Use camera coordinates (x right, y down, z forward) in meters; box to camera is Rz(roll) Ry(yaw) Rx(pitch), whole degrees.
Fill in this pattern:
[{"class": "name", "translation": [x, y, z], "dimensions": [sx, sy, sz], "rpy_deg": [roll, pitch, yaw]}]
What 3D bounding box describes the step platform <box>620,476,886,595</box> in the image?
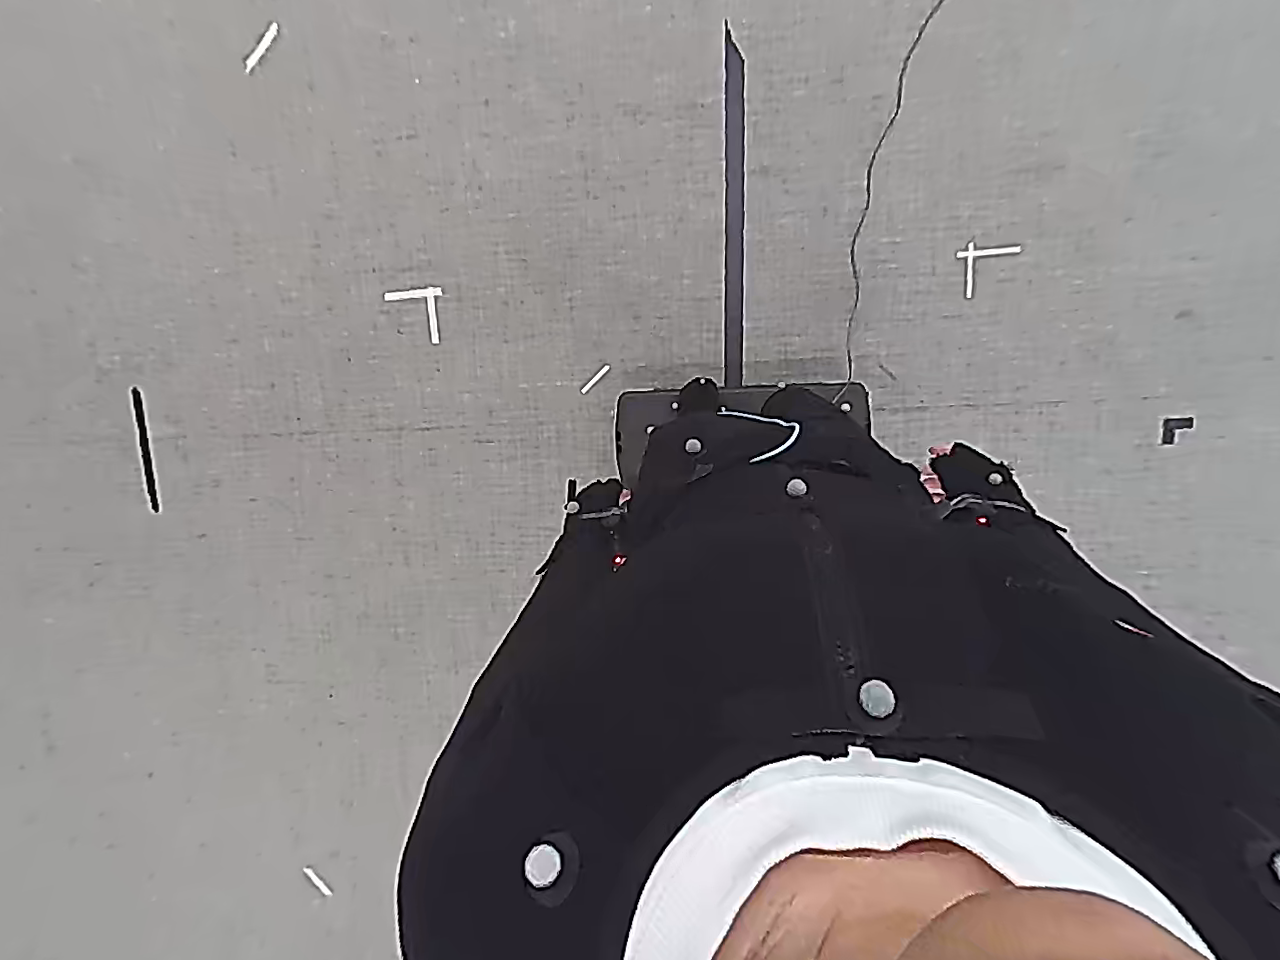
[{"class": "step platform", "translation": [0.286, 0.149, 1.451], "dimensions": [0.684, 0.204, 0.286], "rpy_deg": [-2, 96, 7]}]
